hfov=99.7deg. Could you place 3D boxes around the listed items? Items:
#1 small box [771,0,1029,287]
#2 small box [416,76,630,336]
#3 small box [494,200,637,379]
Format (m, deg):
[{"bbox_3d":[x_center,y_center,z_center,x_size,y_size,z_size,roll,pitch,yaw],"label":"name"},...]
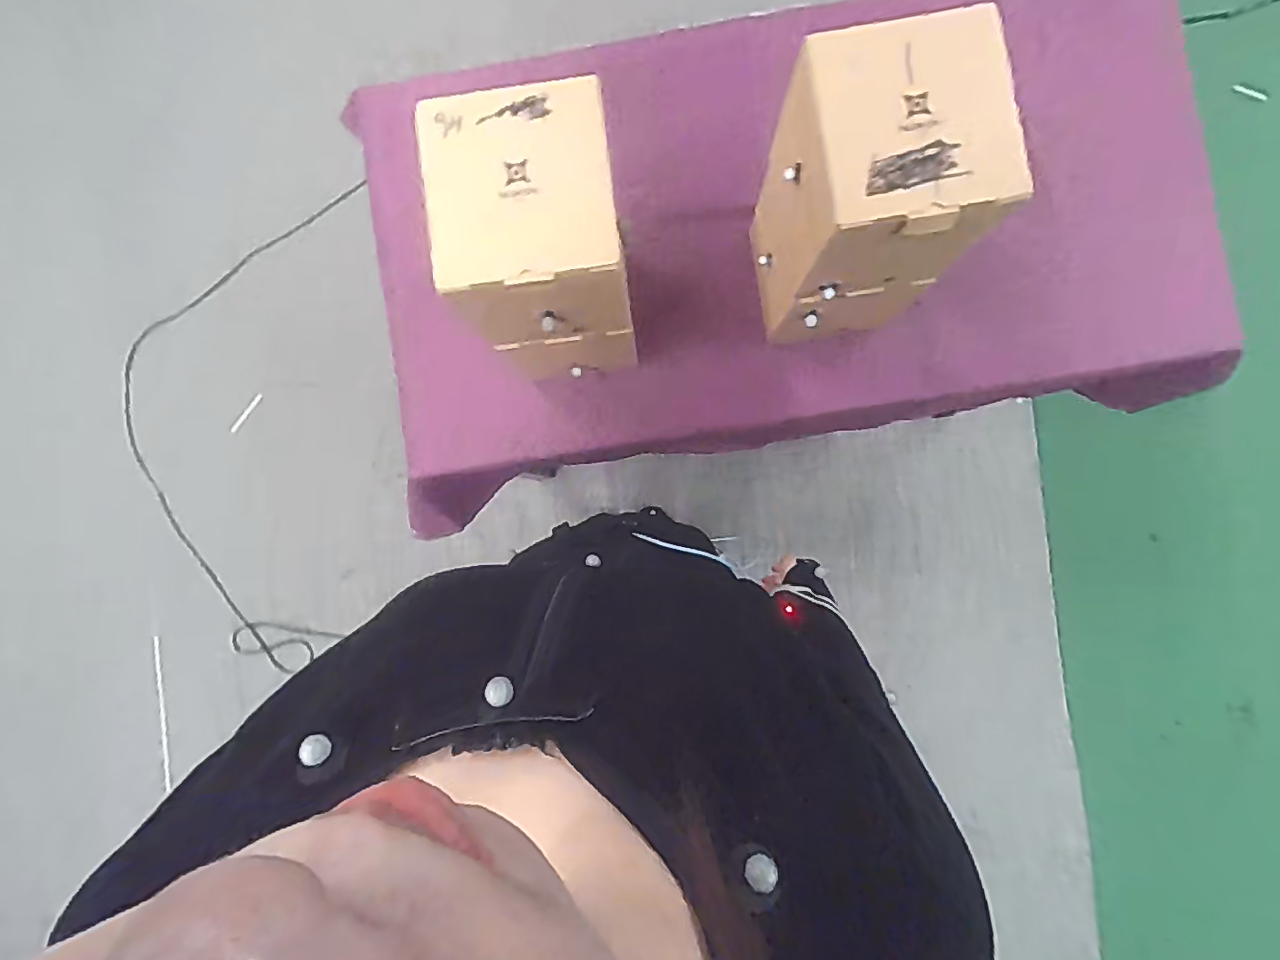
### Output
[{"bbox_3d":[0.239,-0.311,0.541,0.168,0.176,0.179,-9,86,2],"label":"small box"},{"bbox_3d":[-0.104,-0.256,0.552,0.168,0.176,0.179,-7,88,2],"label":"small box"},{"bbox_3d":[-0.097,-0.246,0.716,0.168,0.176,0.179,-8,88,2],"label":"small box"}]
